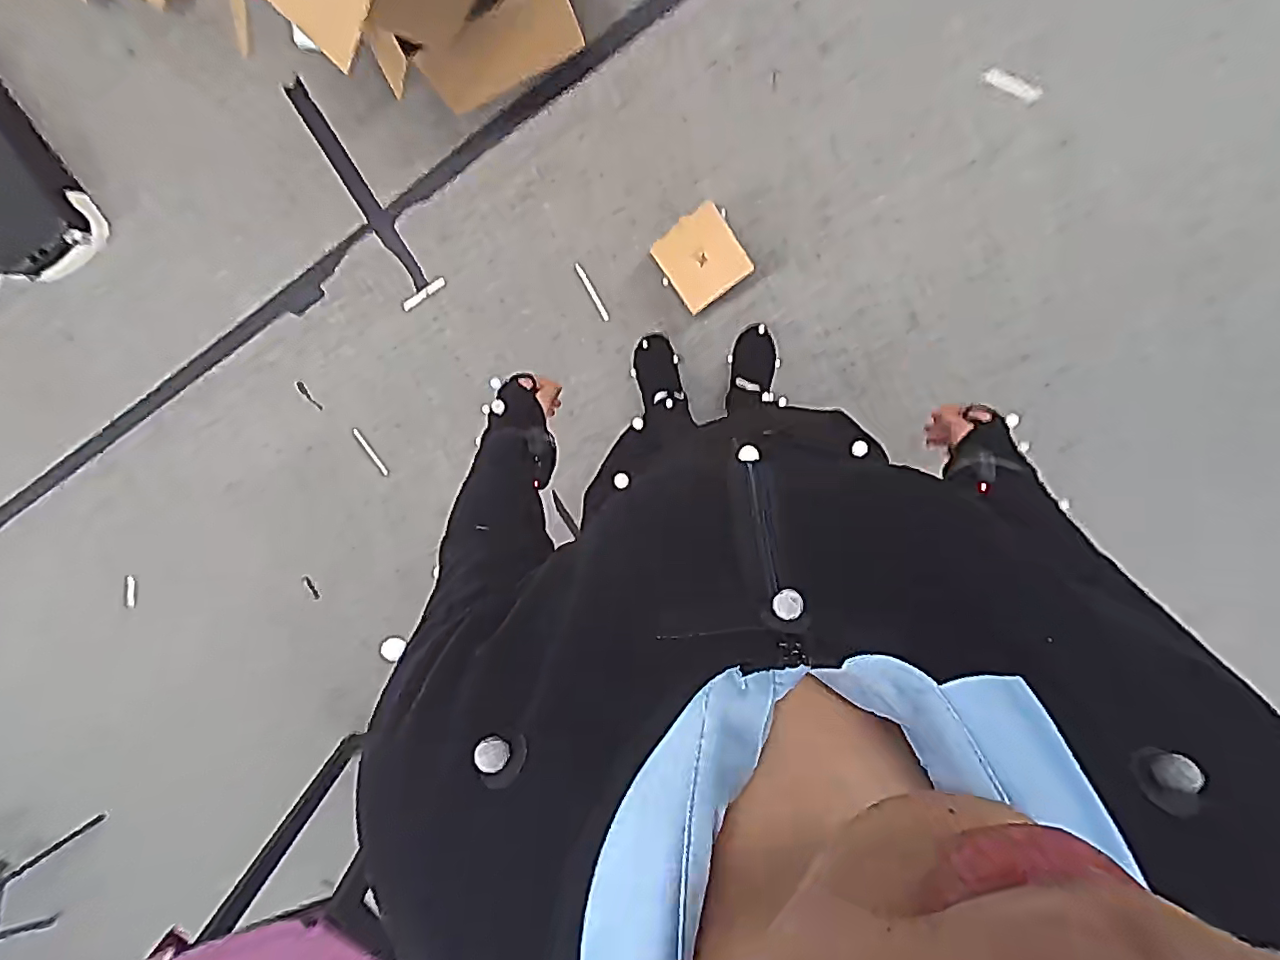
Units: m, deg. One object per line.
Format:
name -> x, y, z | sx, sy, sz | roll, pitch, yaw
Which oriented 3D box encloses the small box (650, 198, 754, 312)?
small box -> 0.143, -0.516, 1.252 | 0.168, 0.176, 0.179 | -34, 104, 16
